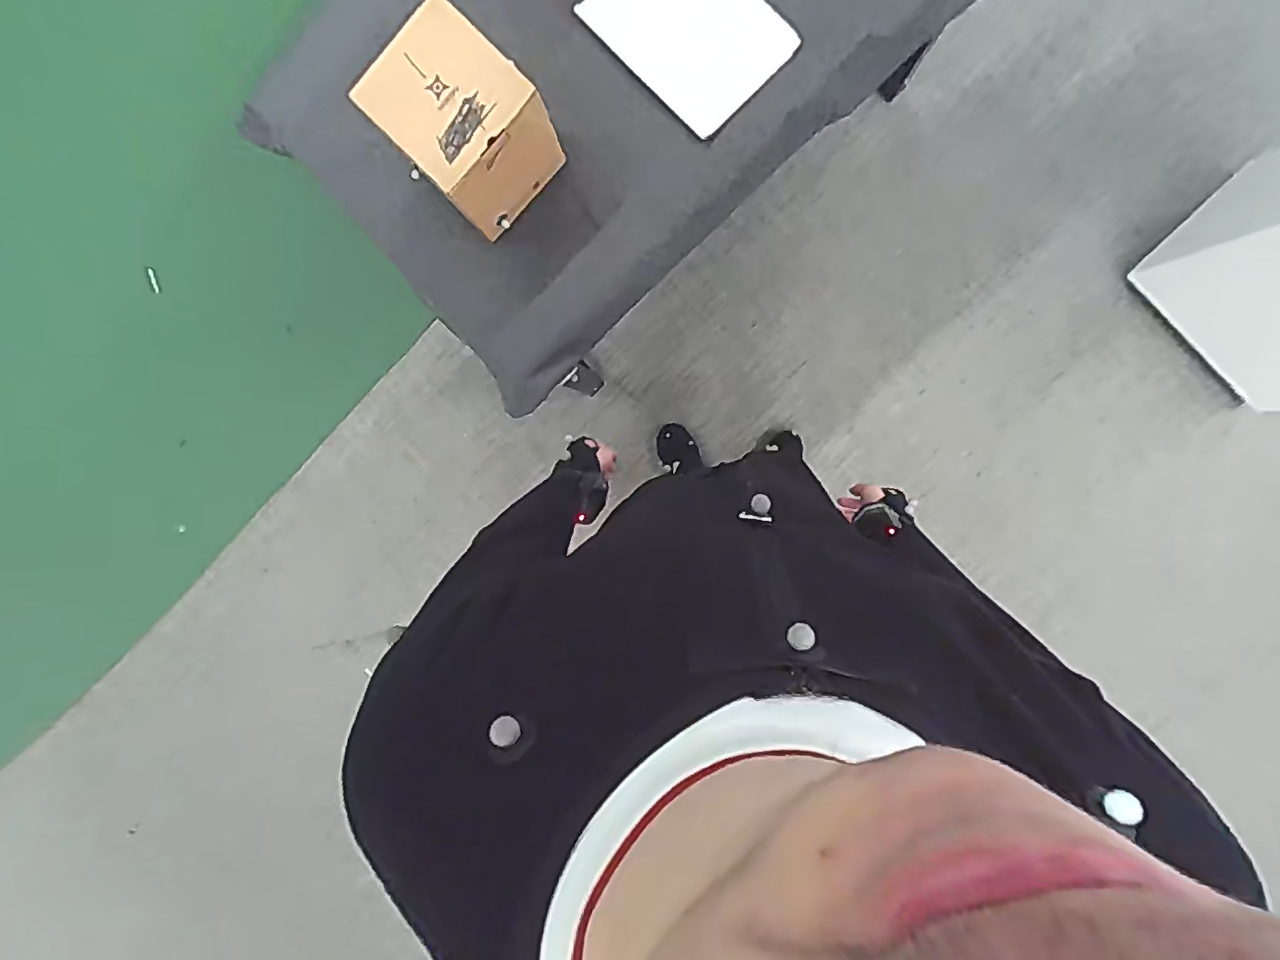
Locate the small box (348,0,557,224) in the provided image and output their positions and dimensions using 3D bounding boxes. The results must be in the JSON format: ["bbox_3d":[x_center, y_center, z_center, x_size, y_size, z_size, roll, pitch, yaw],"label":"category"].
[{"bbox_3d":[-0.235,-0.479,0.730,0.179,0.176,0.168,45,95,-1],"label":"small box"}]
